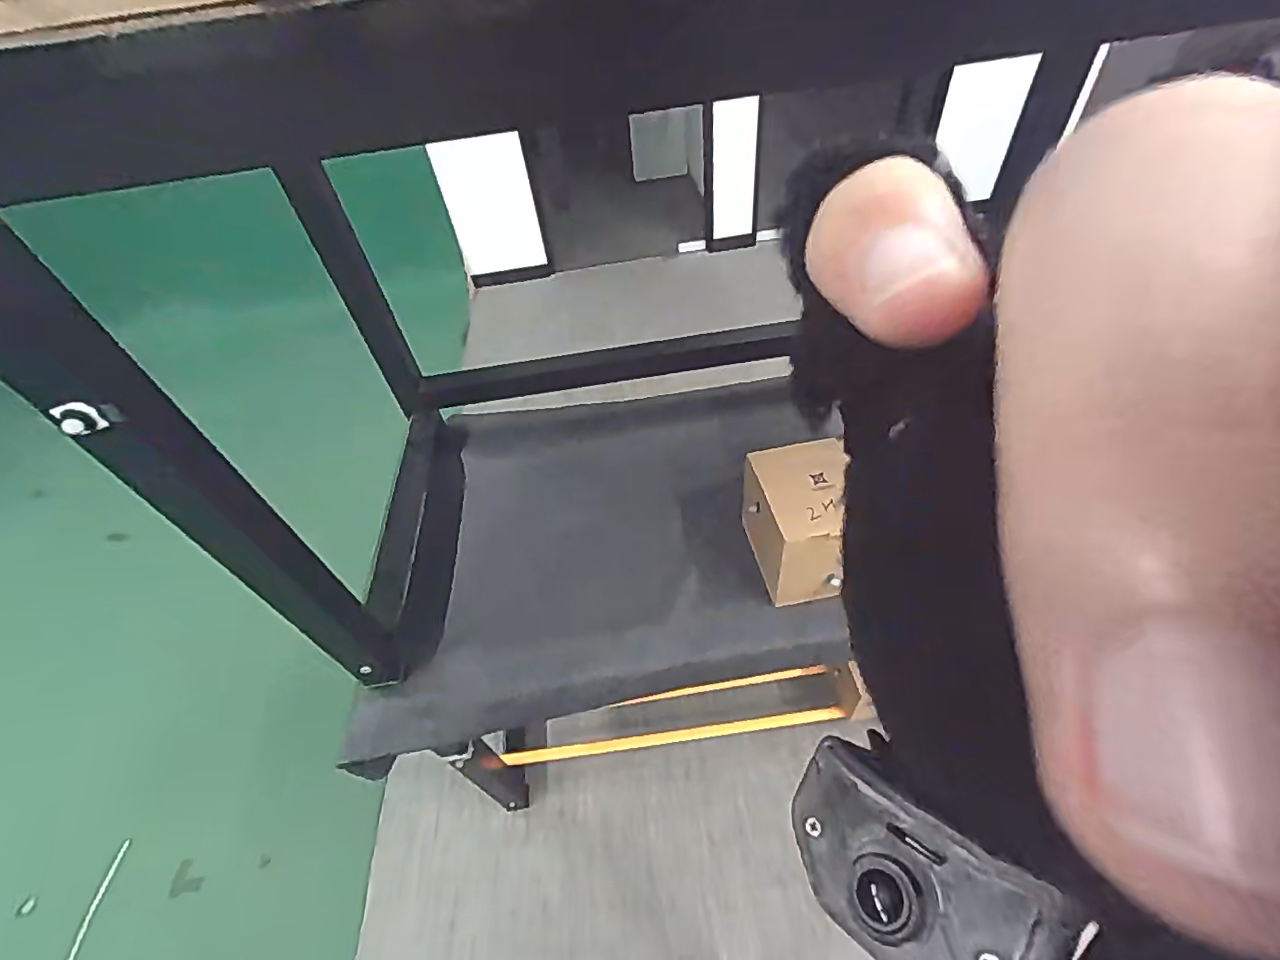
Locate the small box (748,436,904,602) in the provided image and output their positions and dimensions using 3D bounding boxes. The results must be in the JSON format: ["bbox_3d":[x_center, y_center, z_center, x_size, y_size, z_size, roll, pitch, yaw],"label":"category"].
[{"bbox_3d":[0.269,0.060,0.832,0.168,0.176,0.179,-11,46,-2],"label":"small box"}]

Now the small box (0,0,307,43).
[{"bbox_3d":[-0.307,-0.366,0.303,0.168,0.176,0.179,-11,46,-4],"label":"small box"}]
